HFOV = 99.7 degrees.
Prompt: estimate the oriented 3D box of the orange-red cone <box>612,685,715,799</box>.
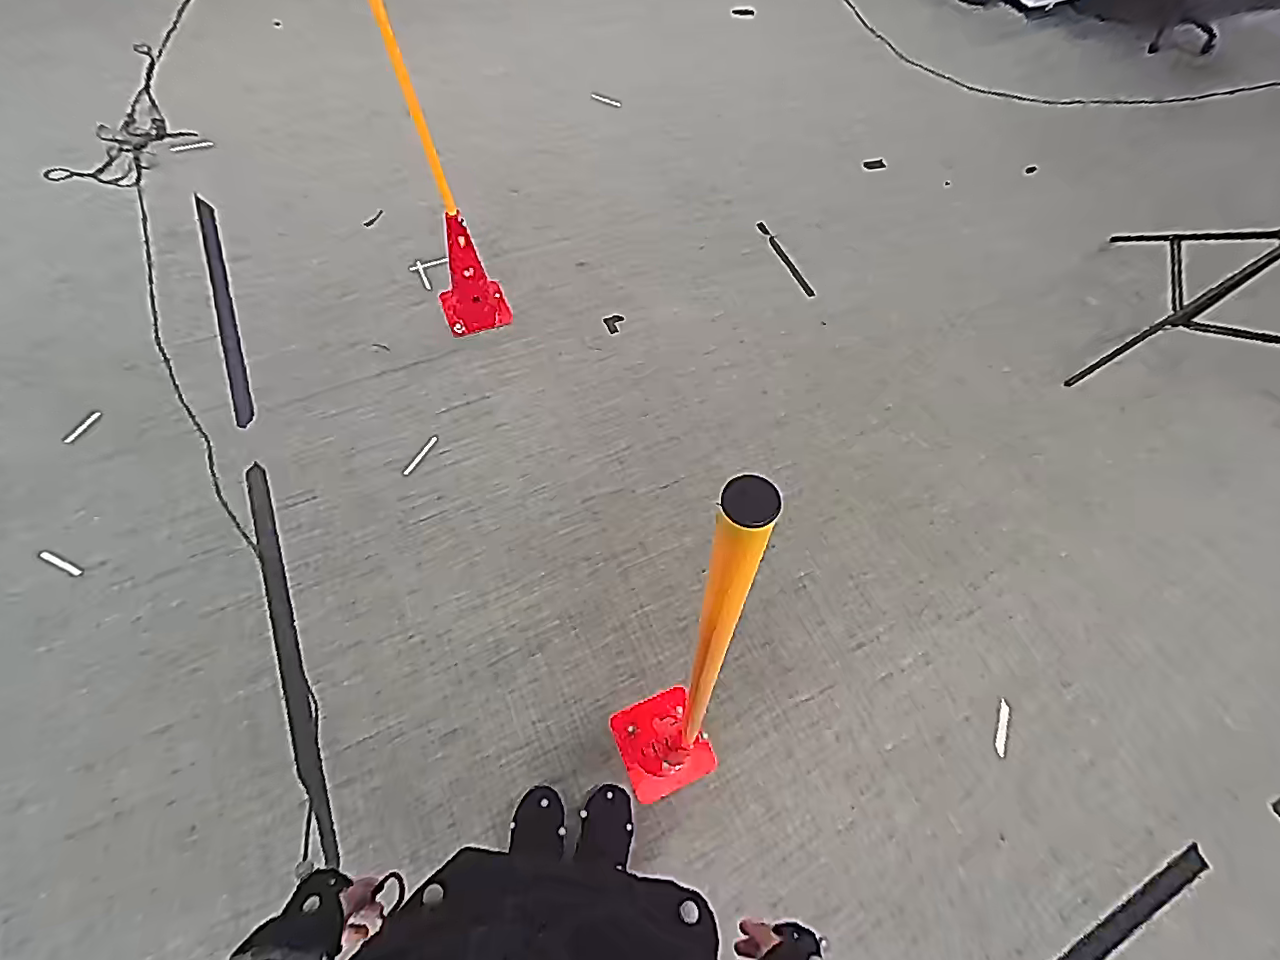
[{"bbox_3d":[0.068,0.518,1.083,0.198,0.360,0.199,-18,67,-14],"label":"orange-red cone"}]
